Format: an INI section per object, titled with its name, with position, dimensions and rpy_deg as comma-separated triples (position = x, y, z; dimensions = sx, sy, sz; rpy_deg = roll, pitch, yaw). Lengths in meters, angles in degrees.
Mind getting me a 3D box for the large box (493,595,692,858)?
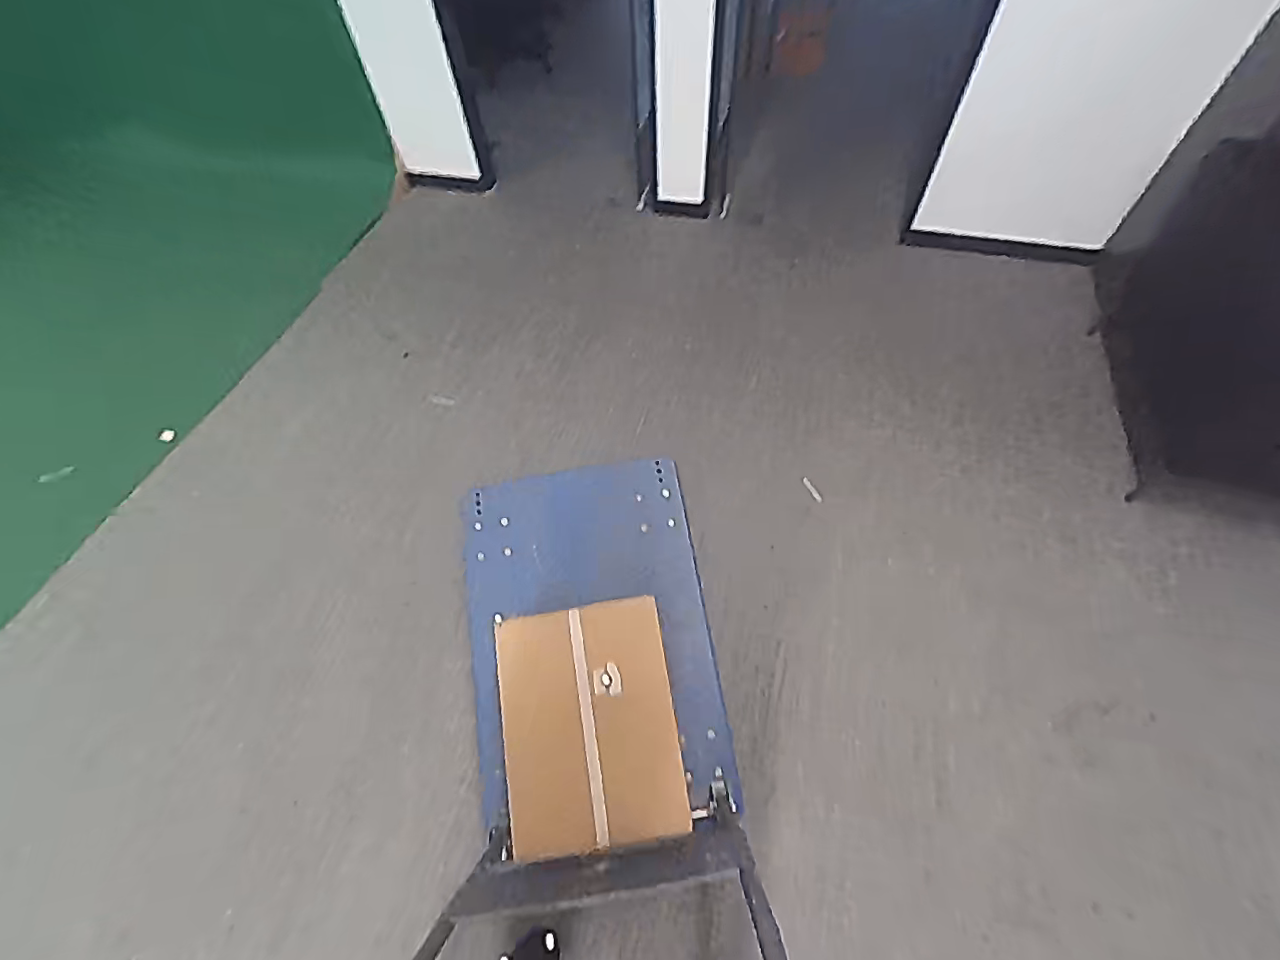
[large box]
position = -0.088, 0.478, 1.121
dimensions = 0.320, 0.320, 0.408
rpy_deg = -10, 73, -1
